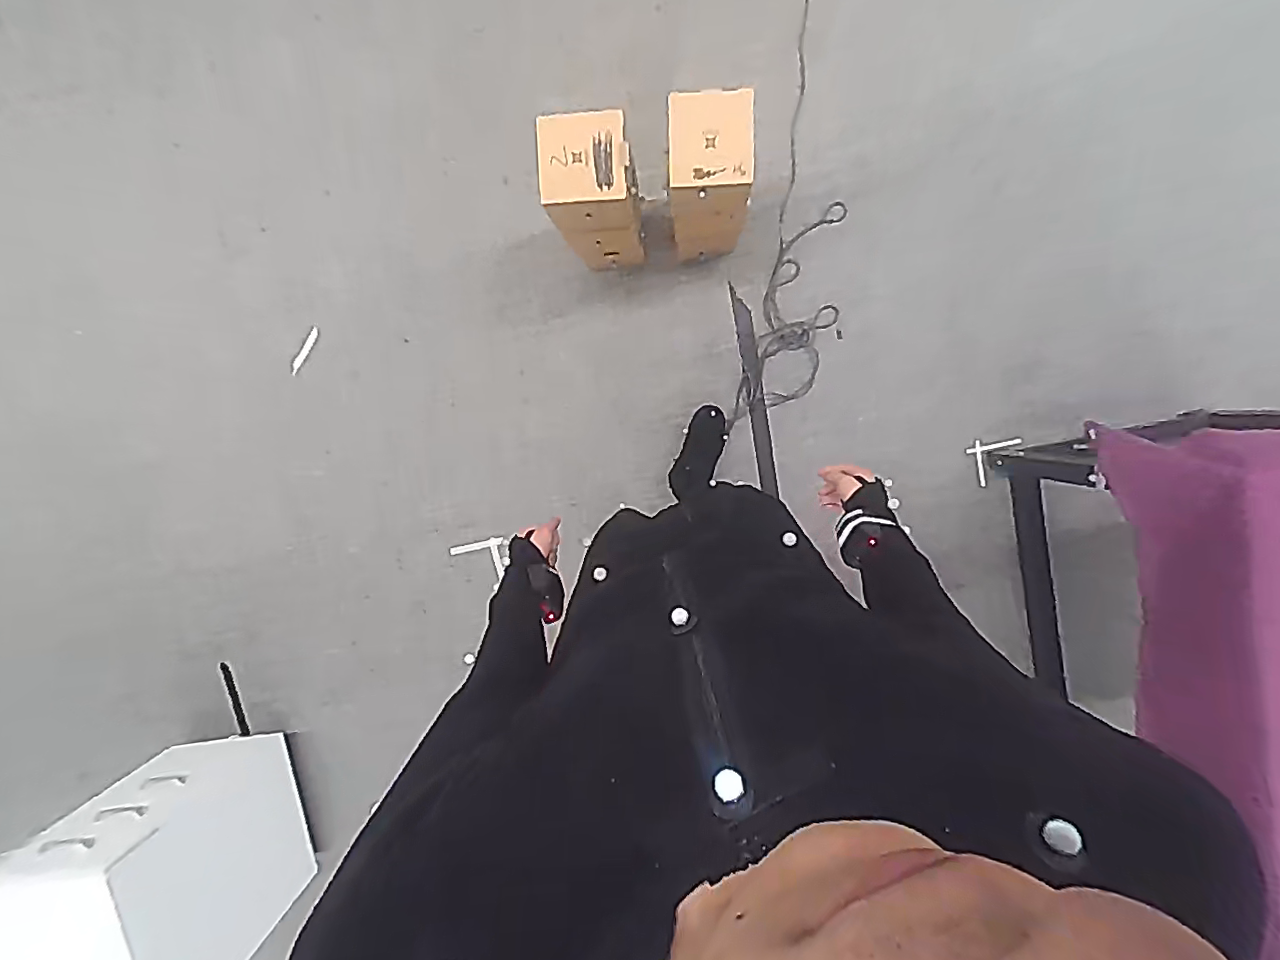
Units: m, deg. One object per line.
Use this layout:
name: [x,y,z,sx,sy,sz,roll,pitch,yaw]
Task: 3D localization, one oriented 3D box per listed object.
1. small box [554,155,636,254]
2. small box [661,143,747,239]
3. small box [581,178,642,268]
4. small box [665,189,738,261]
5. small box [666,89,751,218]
small box: [-0.100,-0.656,1.301,0.179,0.176,0.168,-1,97,5]
small box: [0.150,-0.692,1.286,0.179,0.176,0.168,-8,96,5]
small box: [-0.086,-0.692,1.461,0.168,0.176,0.179,-5,97,5]
small box: [0.159,-0.712,1.447,0.168,0.176,0.179,-10,97,5]
small box: [0.137,-0.669,1.124,0.168,0.176,0.179,-1,96,4]
